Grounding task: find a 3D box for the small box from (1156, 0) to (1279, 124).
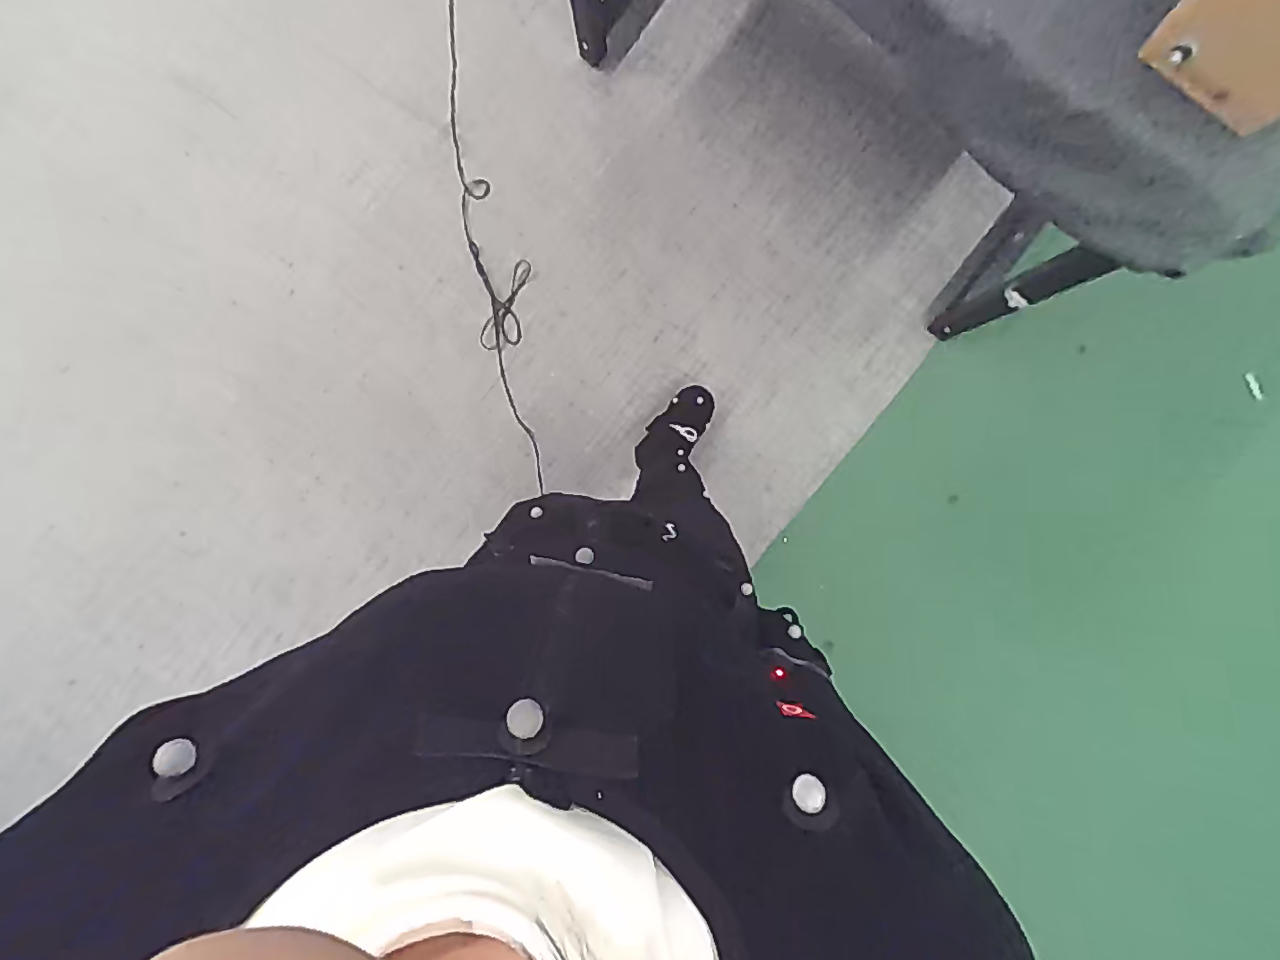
[{"bbox_3d":[0.713,-0.531,0.566,0.168,0.176,0.179,40,91,0],"label":"small box"}]
